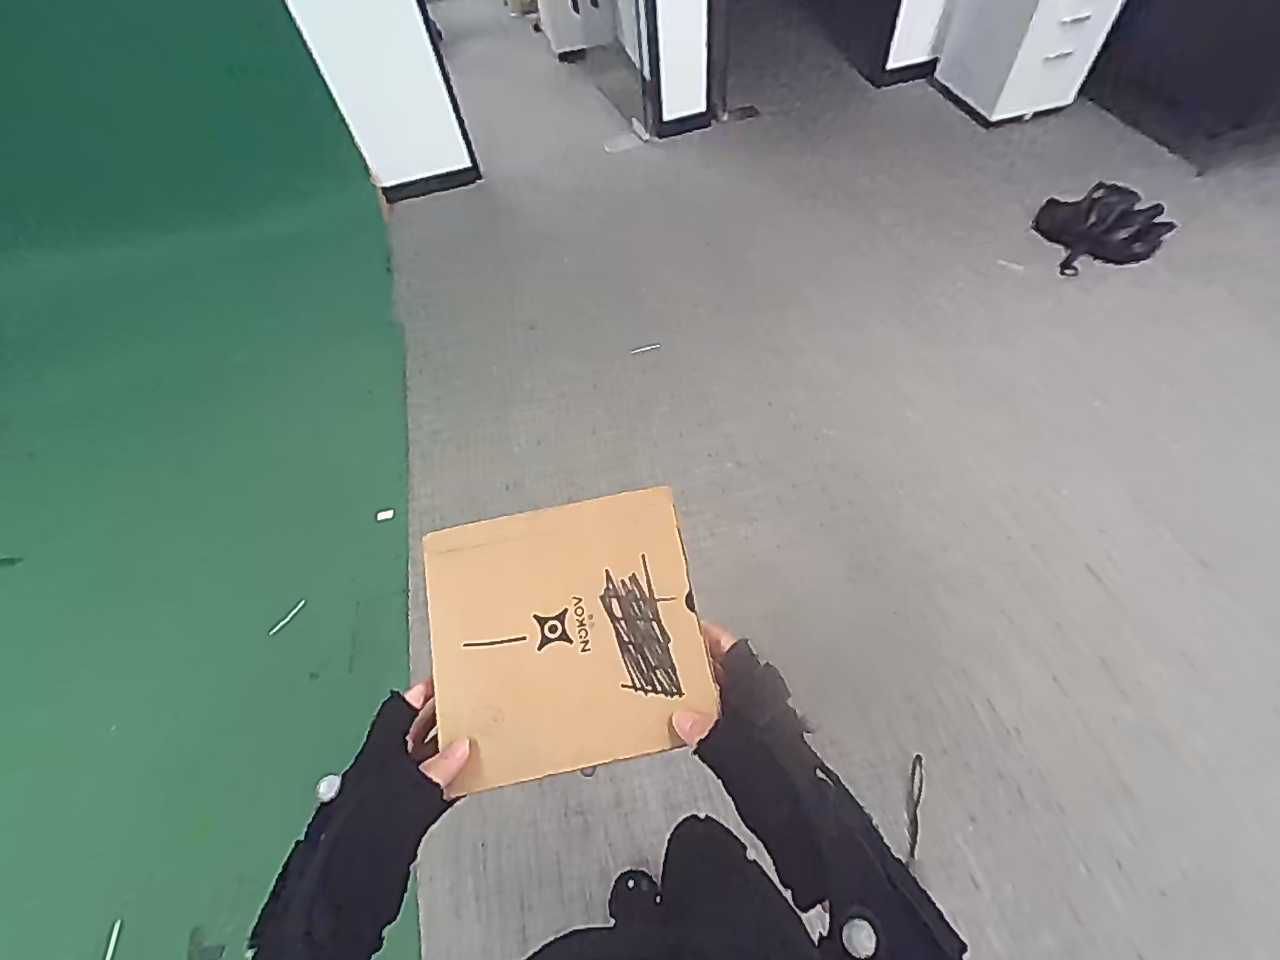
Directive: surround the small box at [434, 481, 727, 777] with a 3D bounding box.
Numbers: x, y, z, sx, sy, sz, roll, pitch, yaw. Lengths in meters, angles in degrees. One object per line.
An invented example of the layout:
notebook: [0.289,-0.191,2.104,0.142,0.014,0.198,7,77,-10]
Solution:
small box: [-0.044,0.114,0.433,0.179,0.176,0.168,-11,72,-2]
